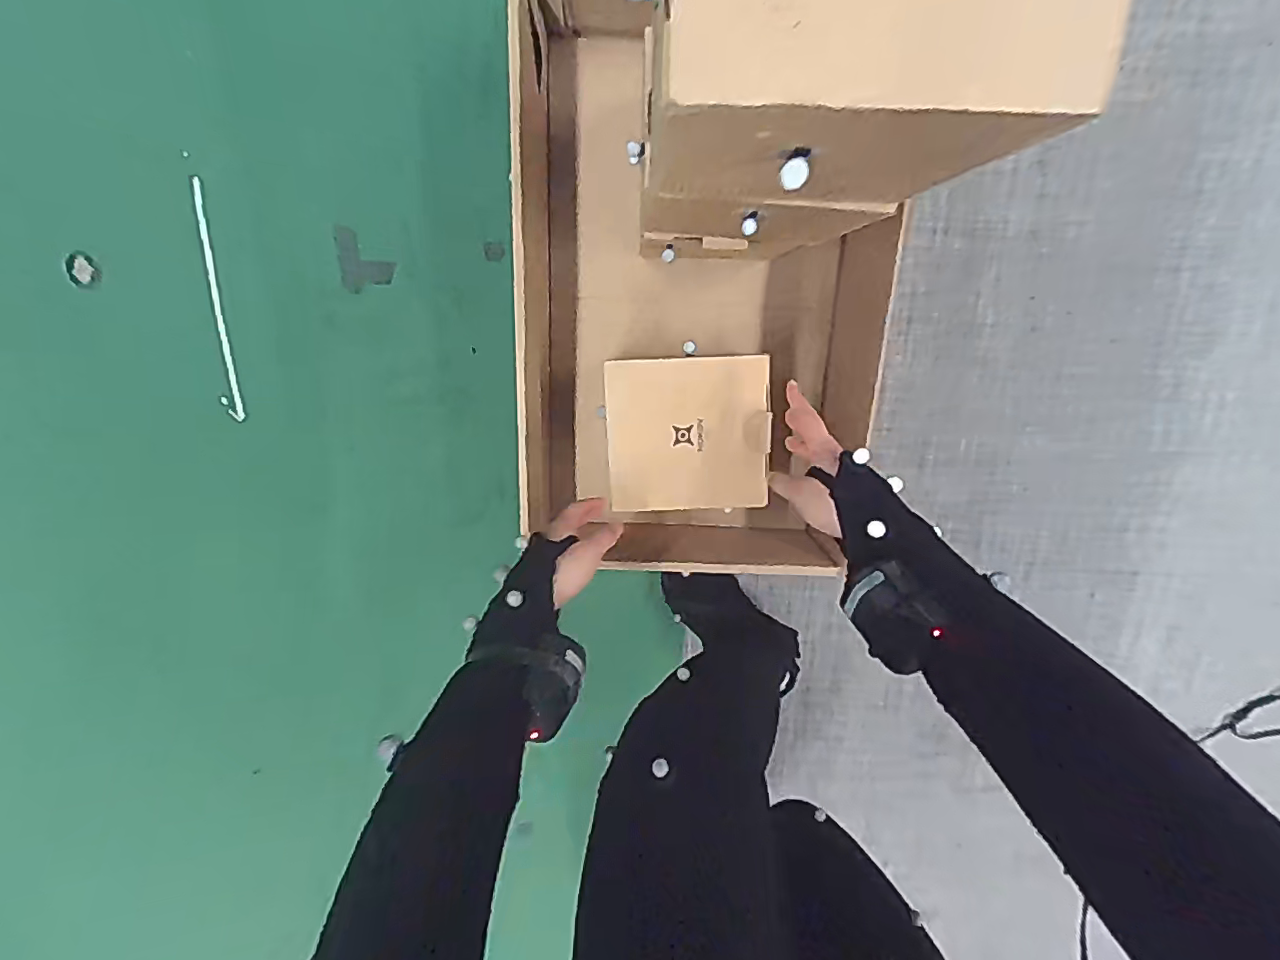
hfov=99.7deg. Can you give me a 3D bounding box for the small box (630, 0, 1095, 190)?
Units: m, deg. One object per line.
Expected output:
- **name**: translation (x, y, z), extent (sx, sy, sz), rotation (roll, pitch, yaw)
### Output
- **small box**: translation (0.086, -0.253, 0.267), extent (0.179, 0.176, 0.168), rotation (1, 106, 0)

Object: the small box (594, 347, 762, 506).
- **small box**: translation (0.042, -0.068, 0.651), extent (0.179, 0.176, 0.168), rotation (-3, 101, -1)

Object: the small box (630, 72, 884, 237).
- **small box**: translation (0.083, -0.296, 0.425), extent (0.179, 0.176, 0.168), rotation (3, 106, -3)
